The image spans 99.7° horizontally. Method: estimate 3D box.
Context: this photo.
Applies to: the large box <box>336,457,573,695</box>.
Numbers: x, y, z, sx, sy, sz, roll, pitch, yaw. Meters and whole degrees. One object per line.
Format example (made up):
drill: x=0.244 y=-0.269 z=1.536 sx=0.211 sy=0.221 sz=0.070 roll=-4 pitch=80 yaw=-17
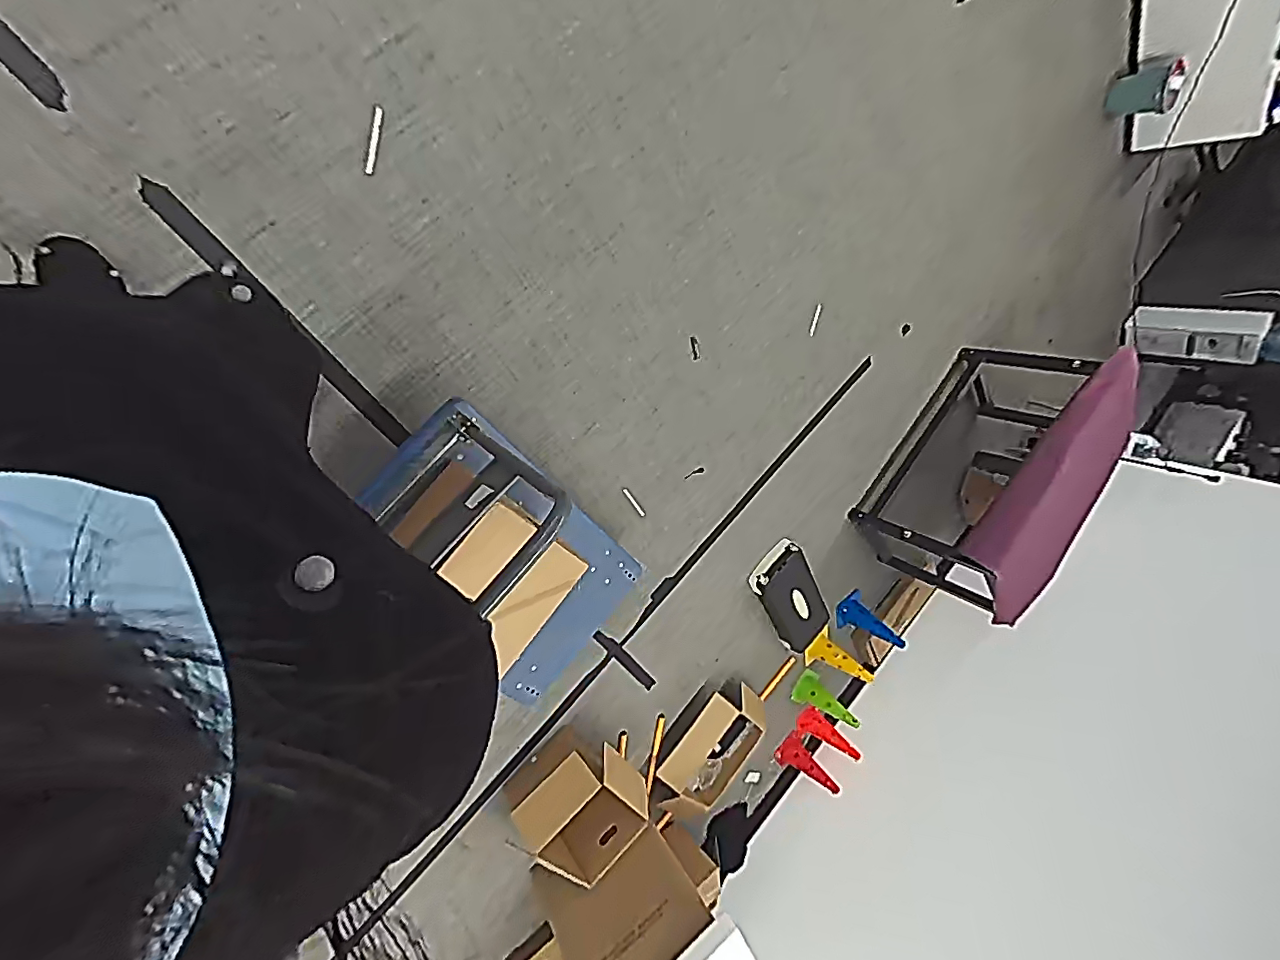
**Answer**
large box: x=-0.444 y=0.219 z=1.298 sx=0.408 sy=0.320 sz=0.320 roll=-51 pitch=129 yaw=-7
